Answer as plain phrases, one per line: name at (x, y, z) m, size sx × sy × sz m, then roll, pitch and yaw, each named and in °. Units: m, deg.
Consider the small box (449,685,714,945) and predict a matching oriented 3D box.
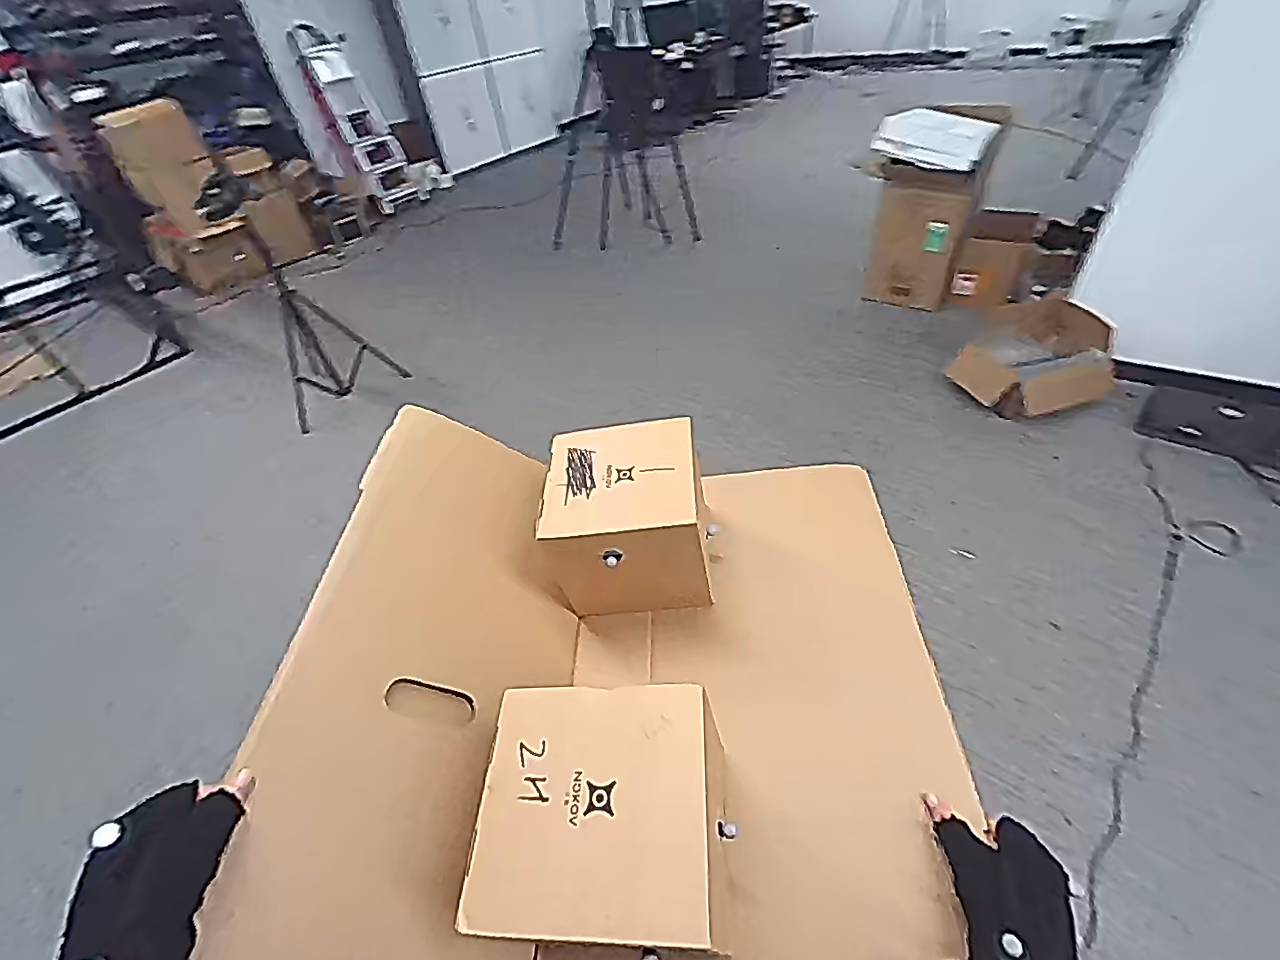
small box at (-0.029, 0.291, 0.471) m, size 0.179 × 0.176 × 0.168 m, roll -6°, pitch 47°, yaw 11°
